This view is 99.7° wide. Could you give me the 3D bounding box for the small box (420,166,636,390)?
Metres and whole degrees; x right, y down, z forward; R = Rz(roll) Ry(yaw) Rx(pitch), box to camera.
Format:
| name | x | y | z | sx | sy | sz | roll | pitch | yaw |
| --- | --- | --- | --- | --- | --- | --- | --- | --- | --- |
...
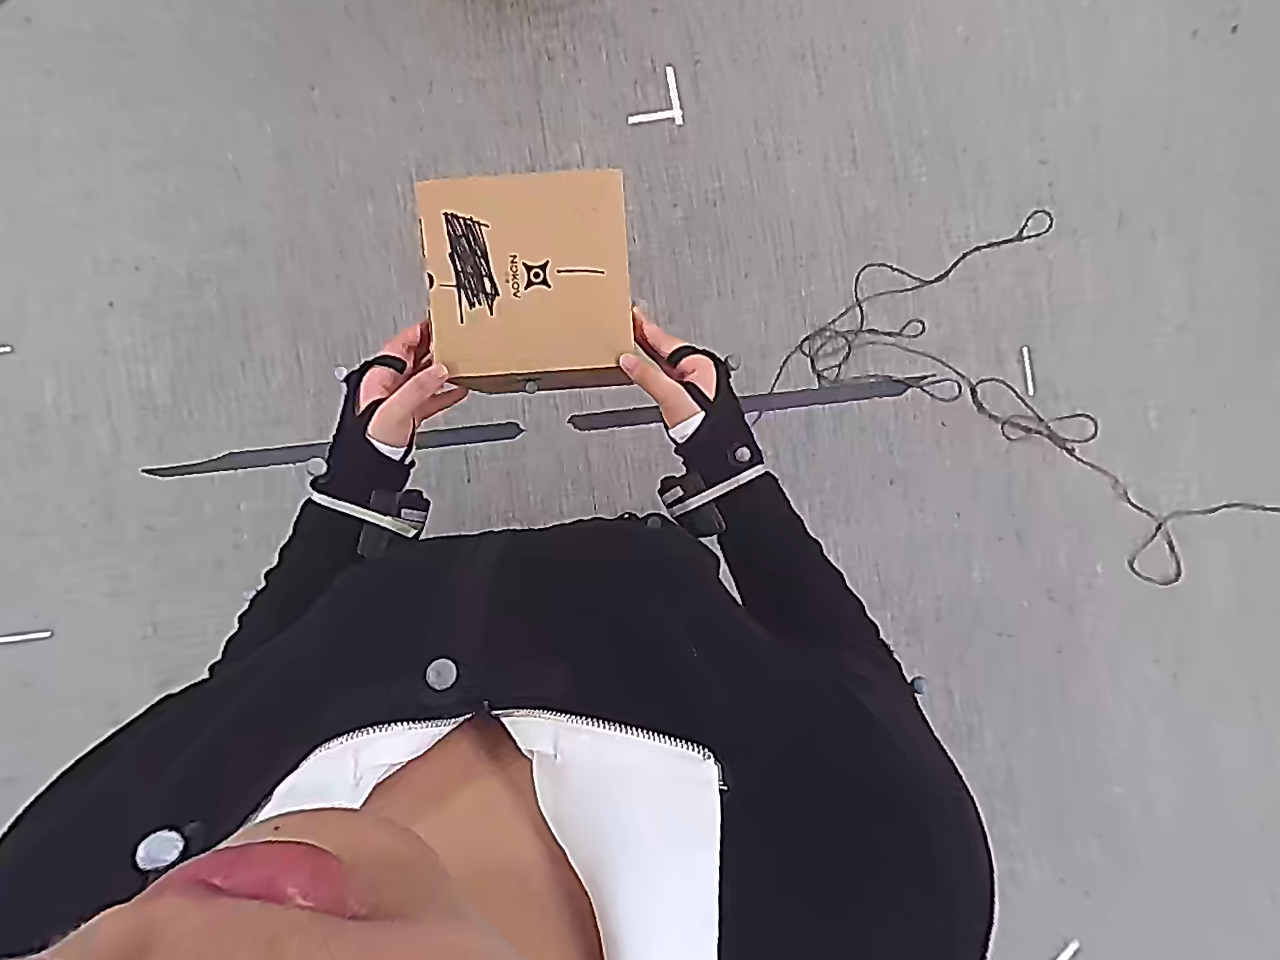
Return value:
| name | x | y | z | sx | sy | sz | roll | pitch | yaw |
| --- | --- | --- | --- | --- | --- | --- | --- | --- | --- |
| small box | -0.095 | -0.184 | 0.539 | 0.179 | 0.176 | 0.168 | -4 | 94 | -1 |
